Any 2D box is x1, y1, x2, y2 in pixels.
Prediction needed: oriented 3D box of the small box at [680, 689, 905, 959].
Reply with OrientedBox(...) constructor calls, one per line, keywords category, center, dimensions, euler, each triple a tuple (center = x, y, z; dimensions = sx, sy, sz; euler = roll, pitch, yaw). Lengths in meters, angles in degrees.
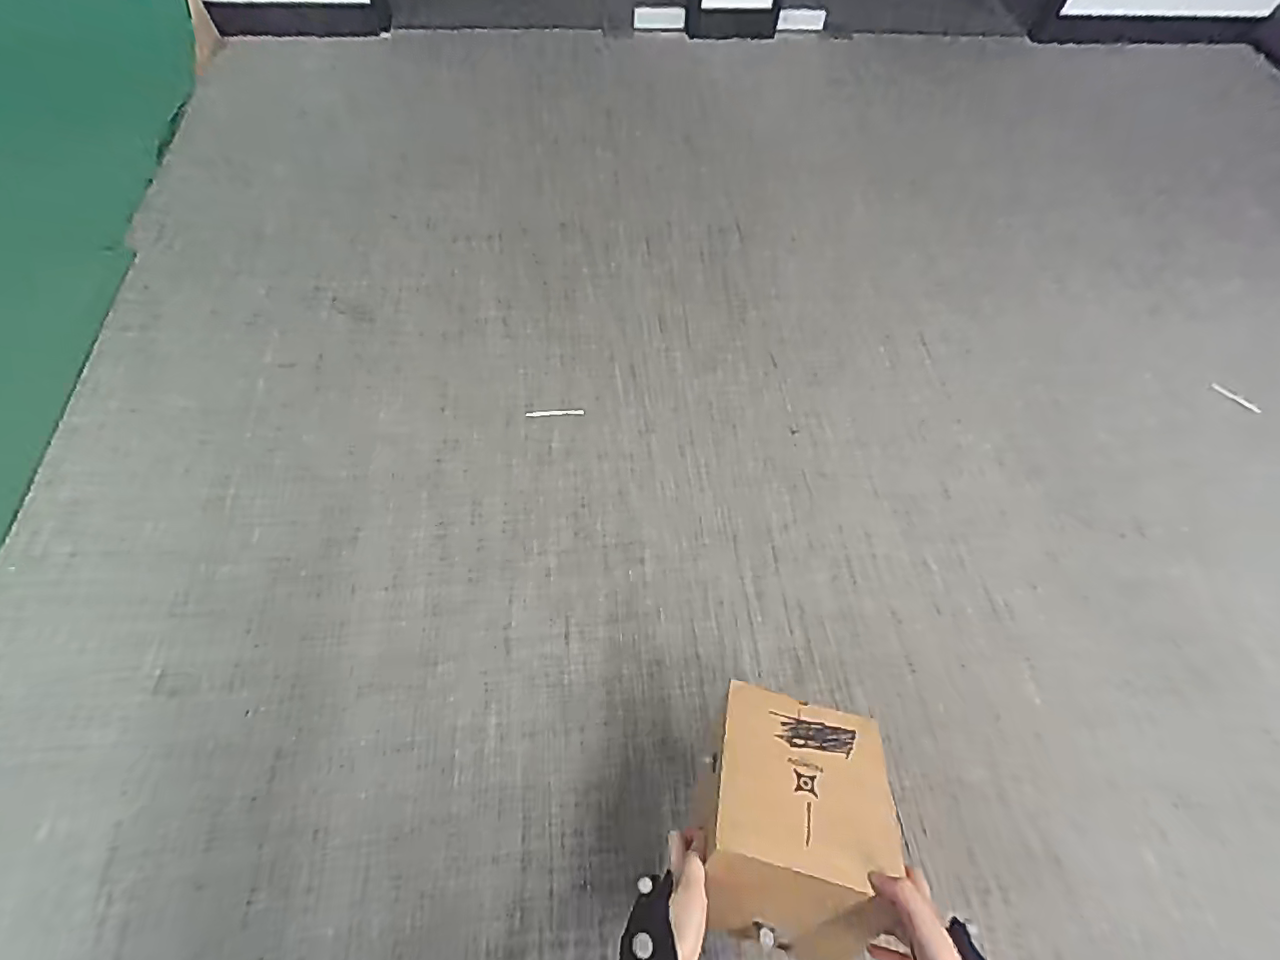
OrientedBox(category="small box", center=(0.144, 0.361, 0.565), dimensions=(0.168, 0.176, 0.179), euler=(14, 33, 5))
